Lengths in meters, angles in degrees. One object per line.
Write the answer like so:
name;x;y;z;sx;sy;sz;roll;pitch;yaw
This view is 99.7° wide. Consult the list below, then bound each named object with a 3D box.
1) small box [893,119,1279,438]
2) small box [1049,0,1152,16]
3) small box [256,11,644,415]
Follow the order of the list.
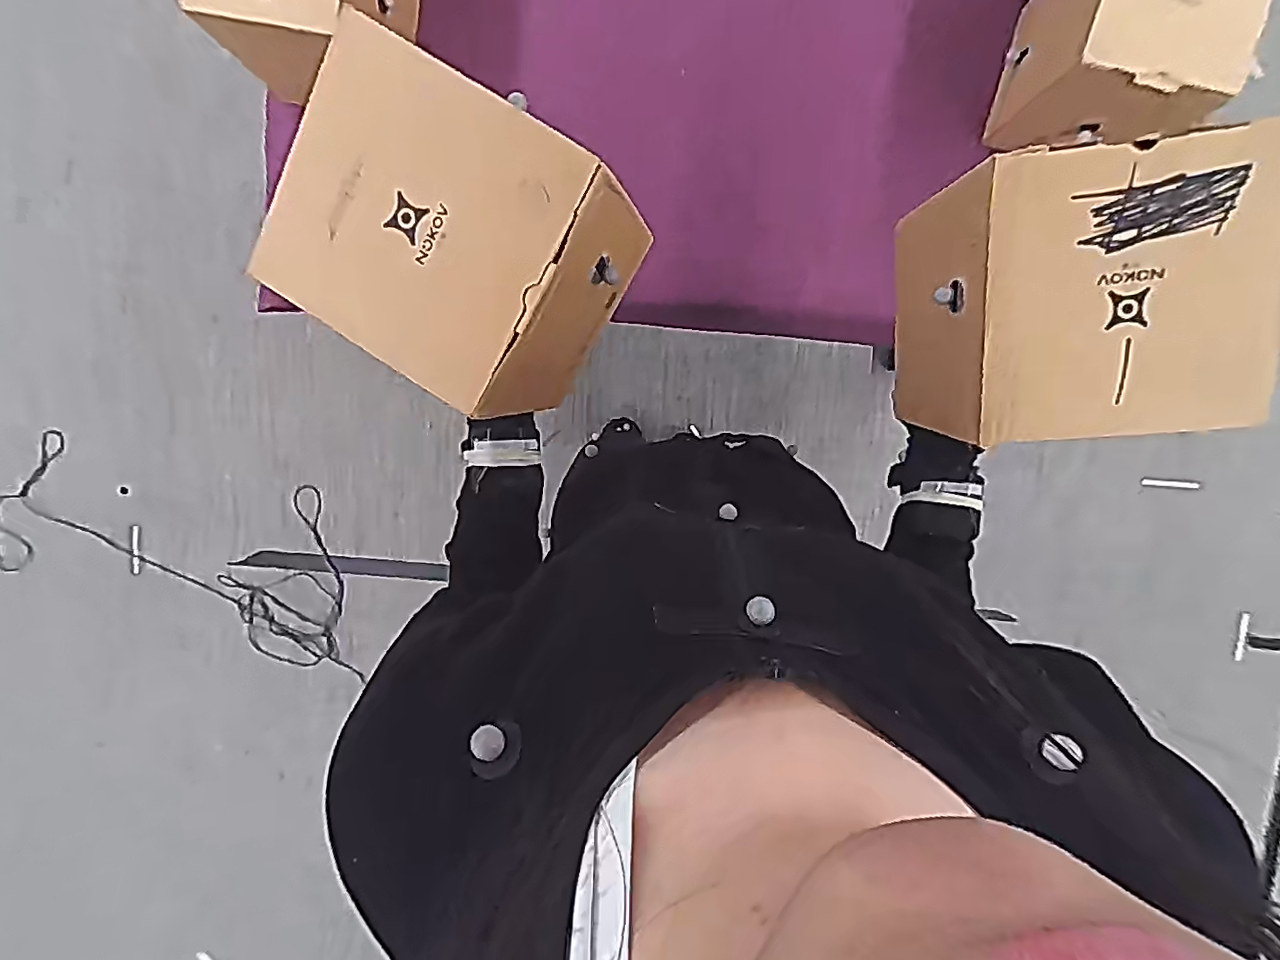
small box;0.304;-0.133;0.409;0.168;0.176;0.179;-3;103;8
small box;0.569;-0.680;0.599;0.168;0.176;0.179;8;95;-1
small box;-0.115;-0.166;0.395;0.179;0.176;0.168;33;104;4
